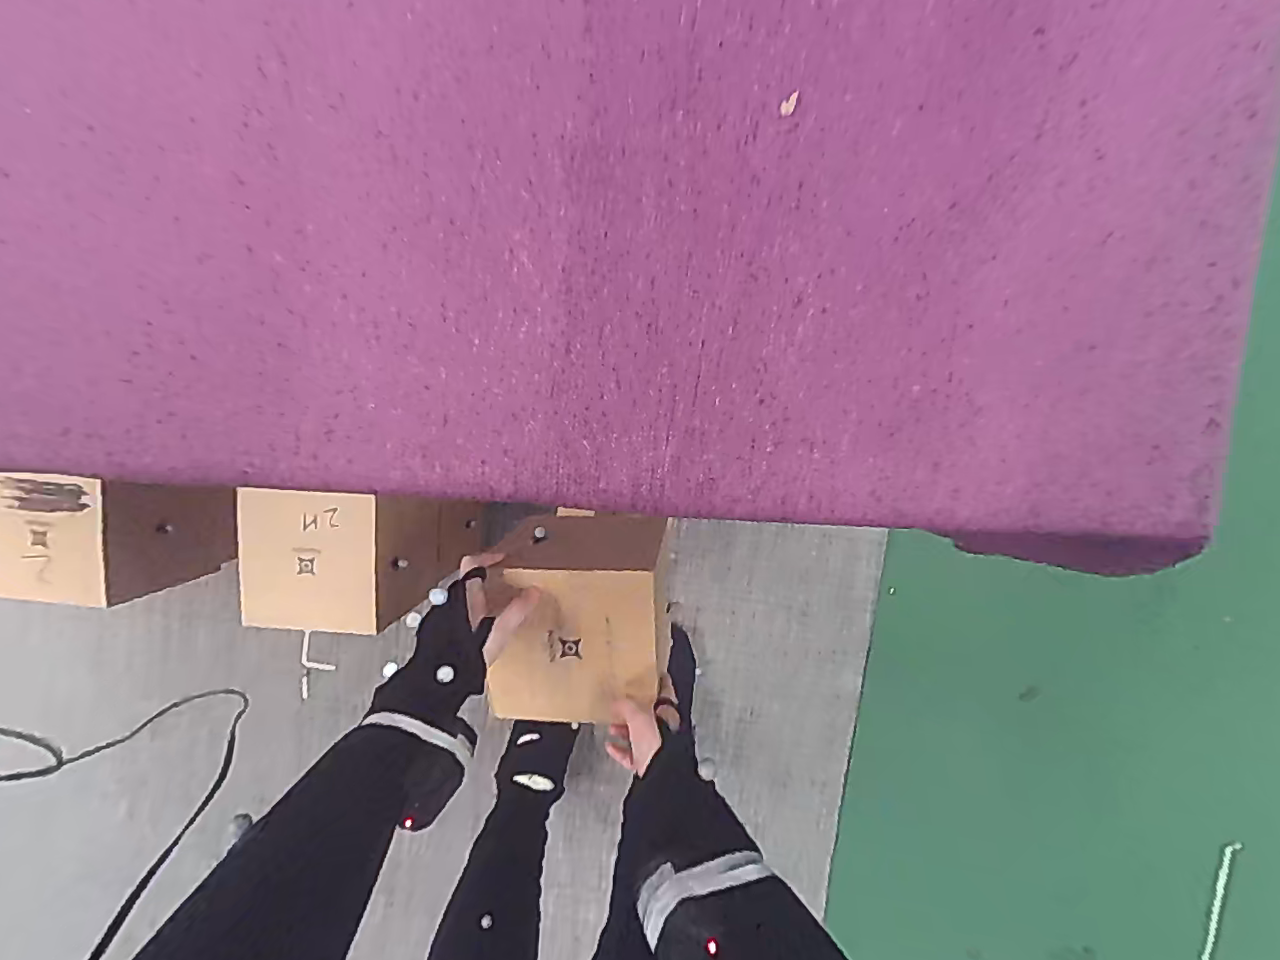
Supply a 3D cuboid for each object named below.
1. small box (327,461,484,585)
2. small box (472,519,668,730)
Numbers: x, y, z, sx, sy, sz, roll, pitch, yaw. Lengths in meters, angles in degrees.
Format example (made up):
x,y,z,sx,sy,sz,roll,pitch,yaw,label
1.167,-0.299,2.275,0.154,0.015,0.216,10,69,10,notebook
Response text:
x,y,z,sx,sy,sz,roll,pitch,yaw,label
-0.372,0.060,0.878,0.179,0.176,0.168,5,96,3,small box
-0.064,0.148,0.606,0.179,0.176,0.168,0,105,8,small box
